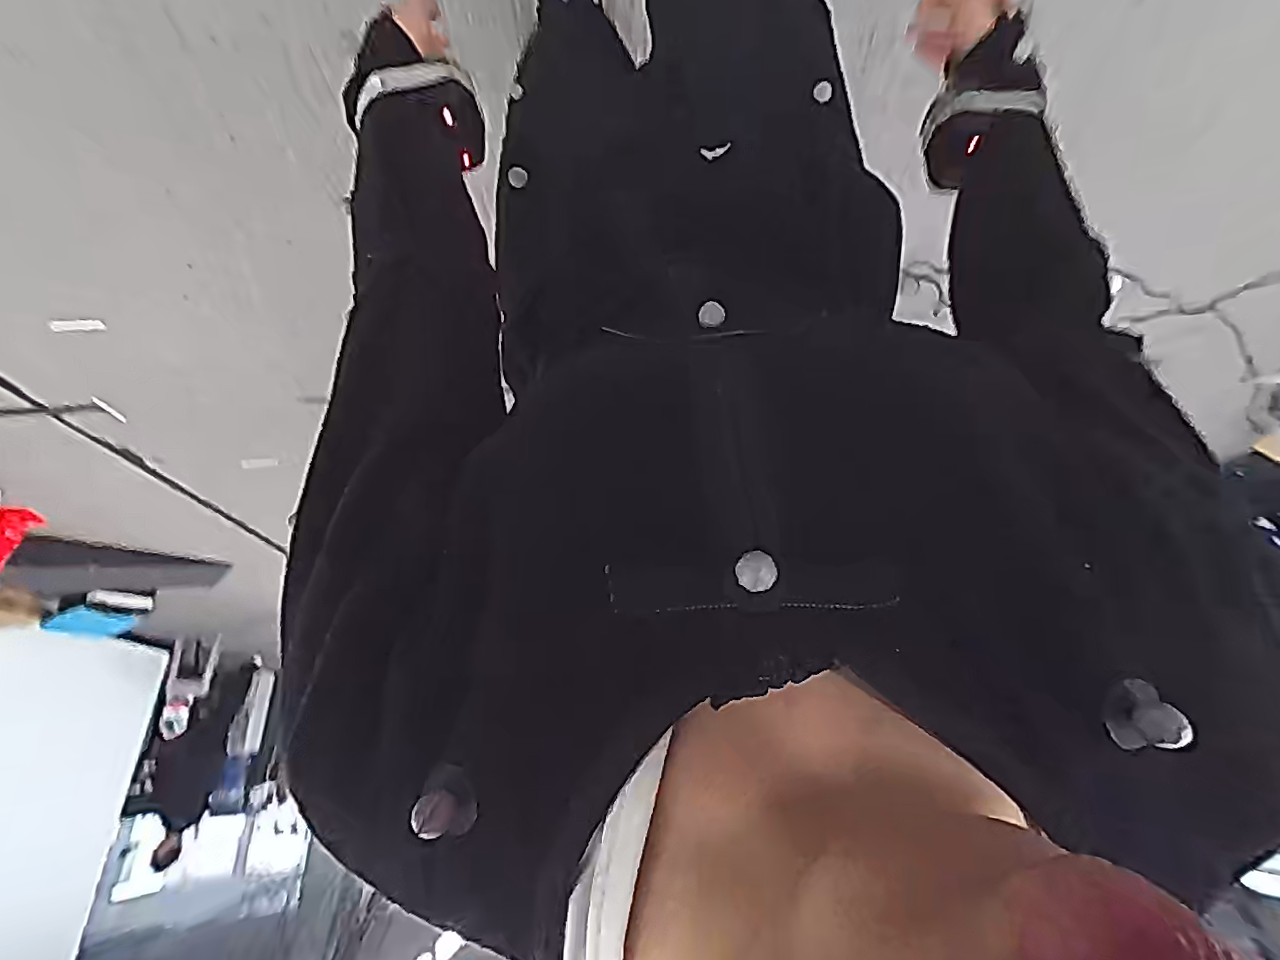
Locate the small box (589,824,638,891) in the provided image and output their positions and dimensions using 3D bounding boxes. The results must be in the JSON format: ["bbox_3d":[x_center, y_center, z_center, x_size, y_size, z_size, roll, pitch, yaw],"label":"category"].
[{"bbox_3d":[-0.100,1.385,1.992,0.168,0.176,0.179,-3,154,-4],"label":"small box"}]
